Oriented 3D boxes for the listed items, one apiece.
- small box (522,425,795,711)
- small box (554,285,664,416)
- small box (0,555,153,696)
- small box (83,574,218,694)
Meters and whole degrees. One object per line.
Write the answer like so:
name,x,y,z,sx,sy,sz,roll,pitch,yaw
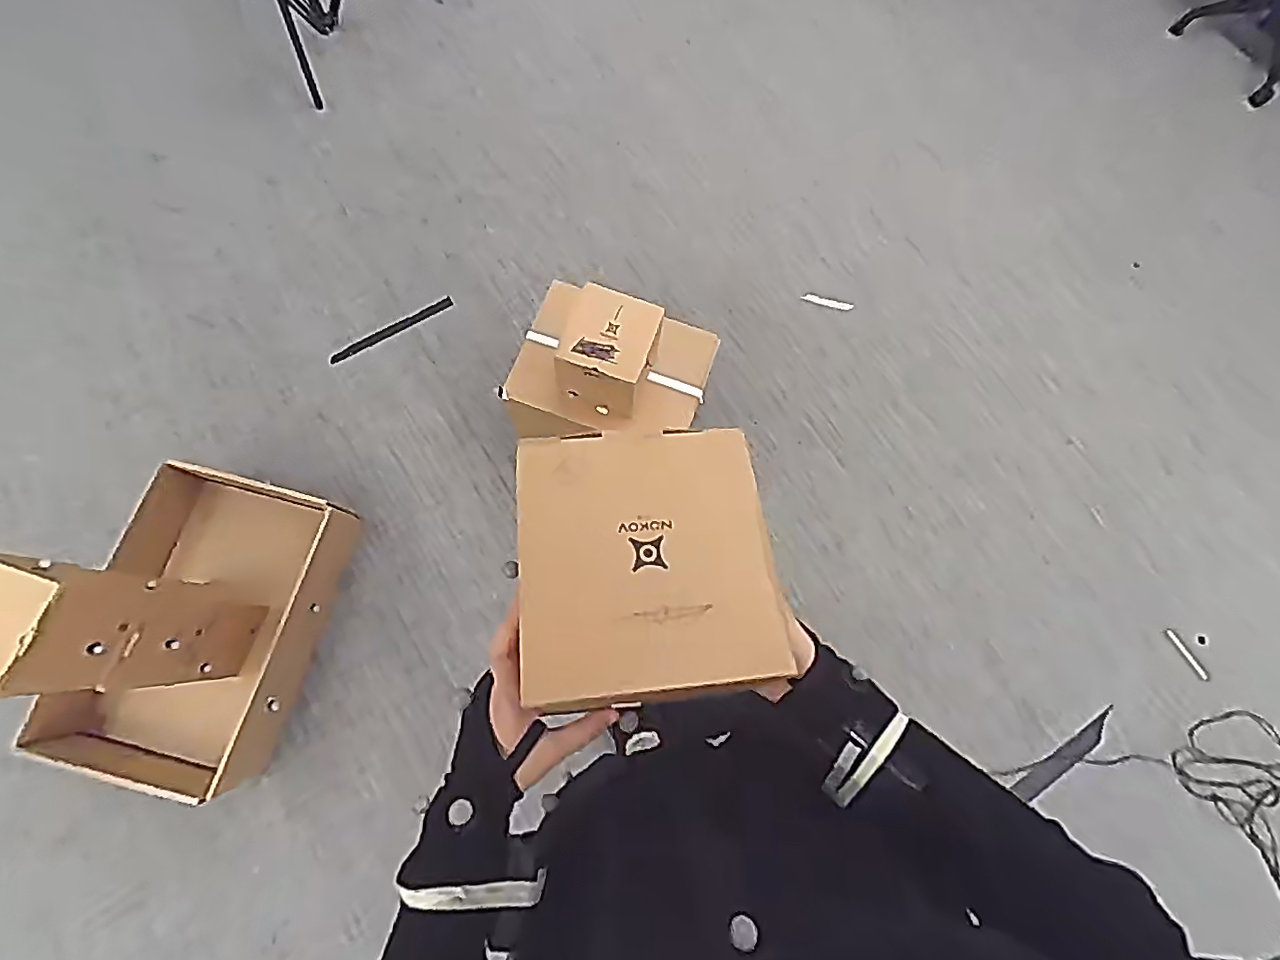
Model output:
small box,-0.004,0.075,0.424,0.168,0.176,0.179,-3,65,-8
small box,-0.060,-0.253,1.097,0.168,0.176,0.179,20,74,1
small box,-0.943,0.225,0.845,0.179,0.176,0.168,18,73,2
small box,-0.946,0.278,1.000,0.179,0.176,0.168,19,73,2
